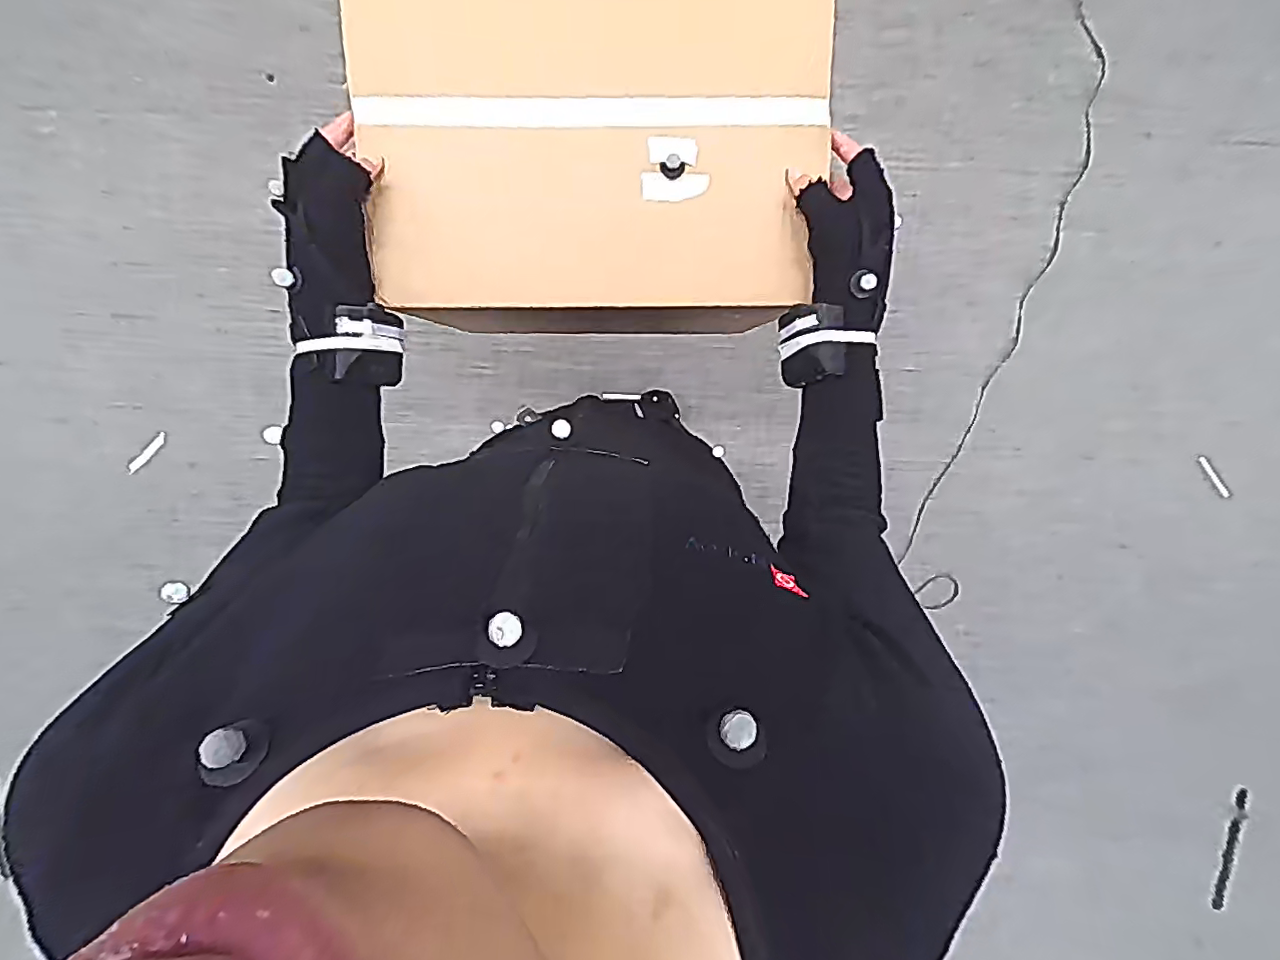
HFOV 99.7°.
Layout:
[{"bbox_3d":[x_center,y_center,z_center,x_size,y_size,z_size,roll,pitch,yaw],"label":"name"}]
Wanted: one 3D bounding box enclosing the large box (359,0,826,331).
[{"bbox_3d":[-0.043,-0.348,0.620,0.408,0.320,0.320,-1,101,-2],"label":"large box"}]
